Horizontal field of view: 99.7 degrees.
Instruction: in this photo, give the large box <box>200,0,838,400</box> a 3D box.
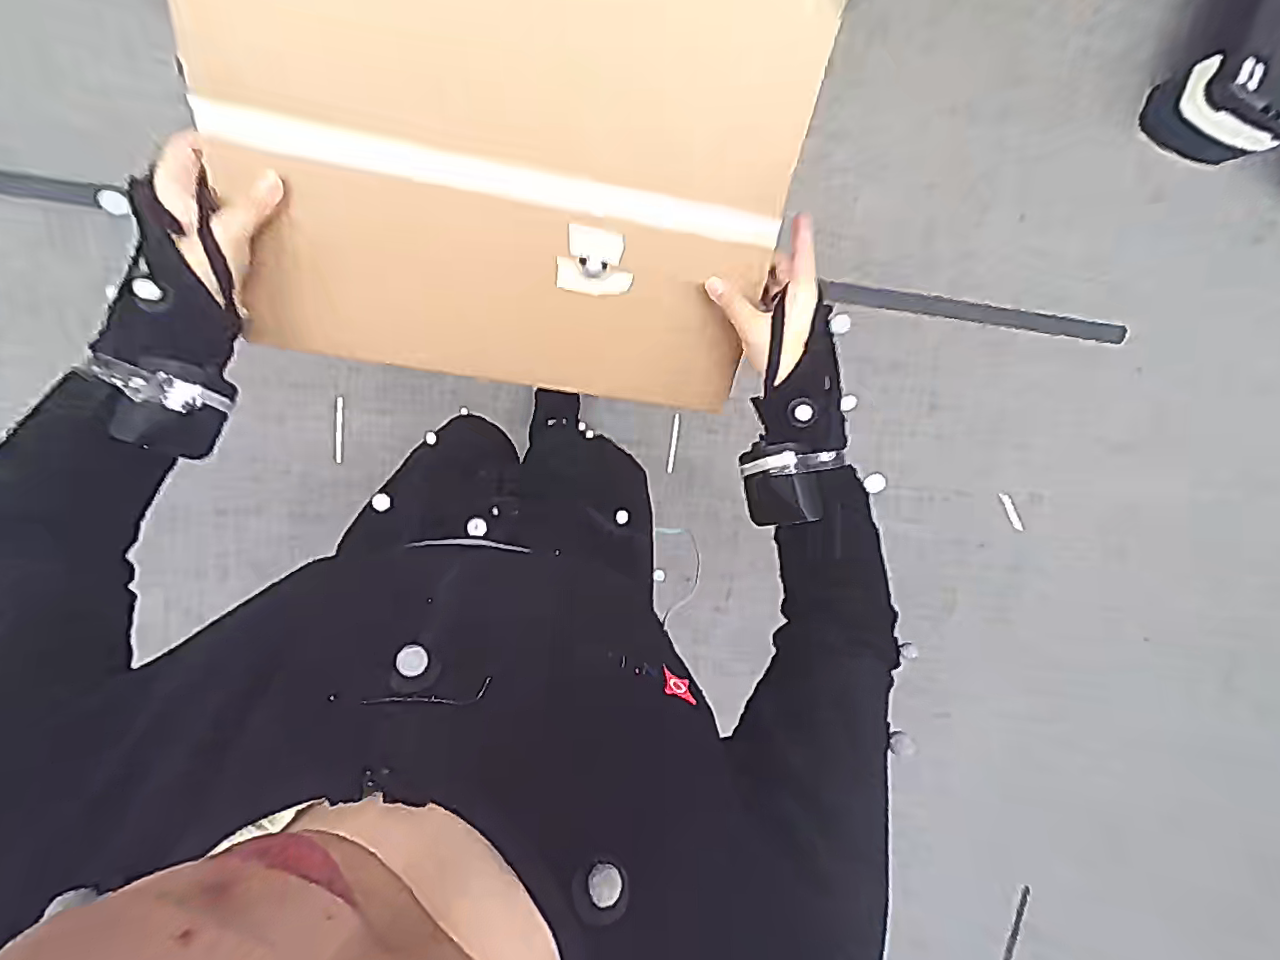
[{"bbox_3d":[-0.103,-0.300,0.522,0.408,0.320,0.320,6,123,-10],"label":"large box"}]
